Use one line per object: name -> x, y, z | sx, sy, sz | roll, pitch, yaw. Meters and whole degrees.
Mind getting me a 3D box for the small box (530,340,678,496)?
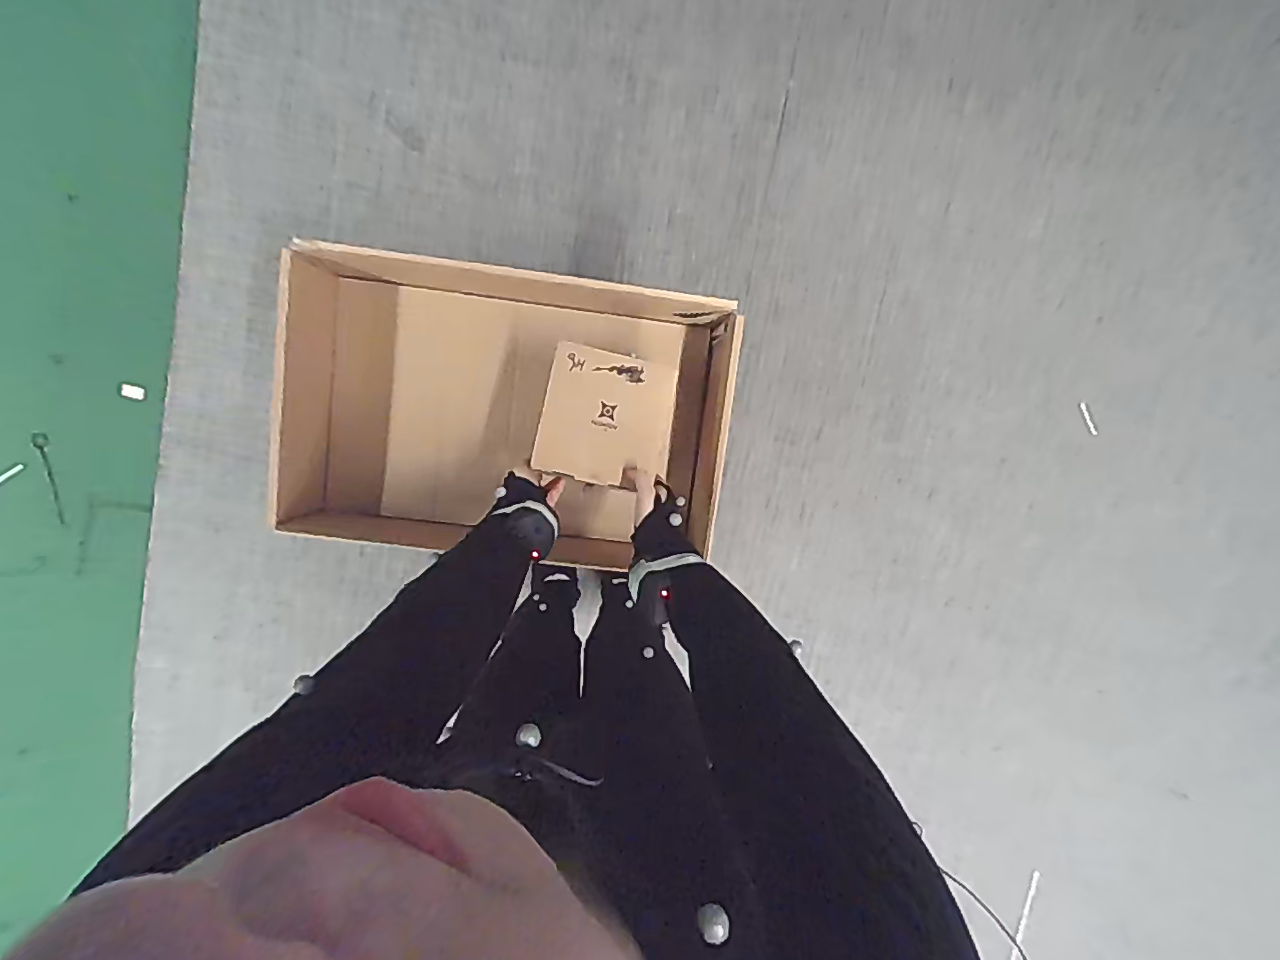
small box -> -0.054, -0.082, 0.795 | 0.168, 0.176, 0.179 | 14, 89, -6
